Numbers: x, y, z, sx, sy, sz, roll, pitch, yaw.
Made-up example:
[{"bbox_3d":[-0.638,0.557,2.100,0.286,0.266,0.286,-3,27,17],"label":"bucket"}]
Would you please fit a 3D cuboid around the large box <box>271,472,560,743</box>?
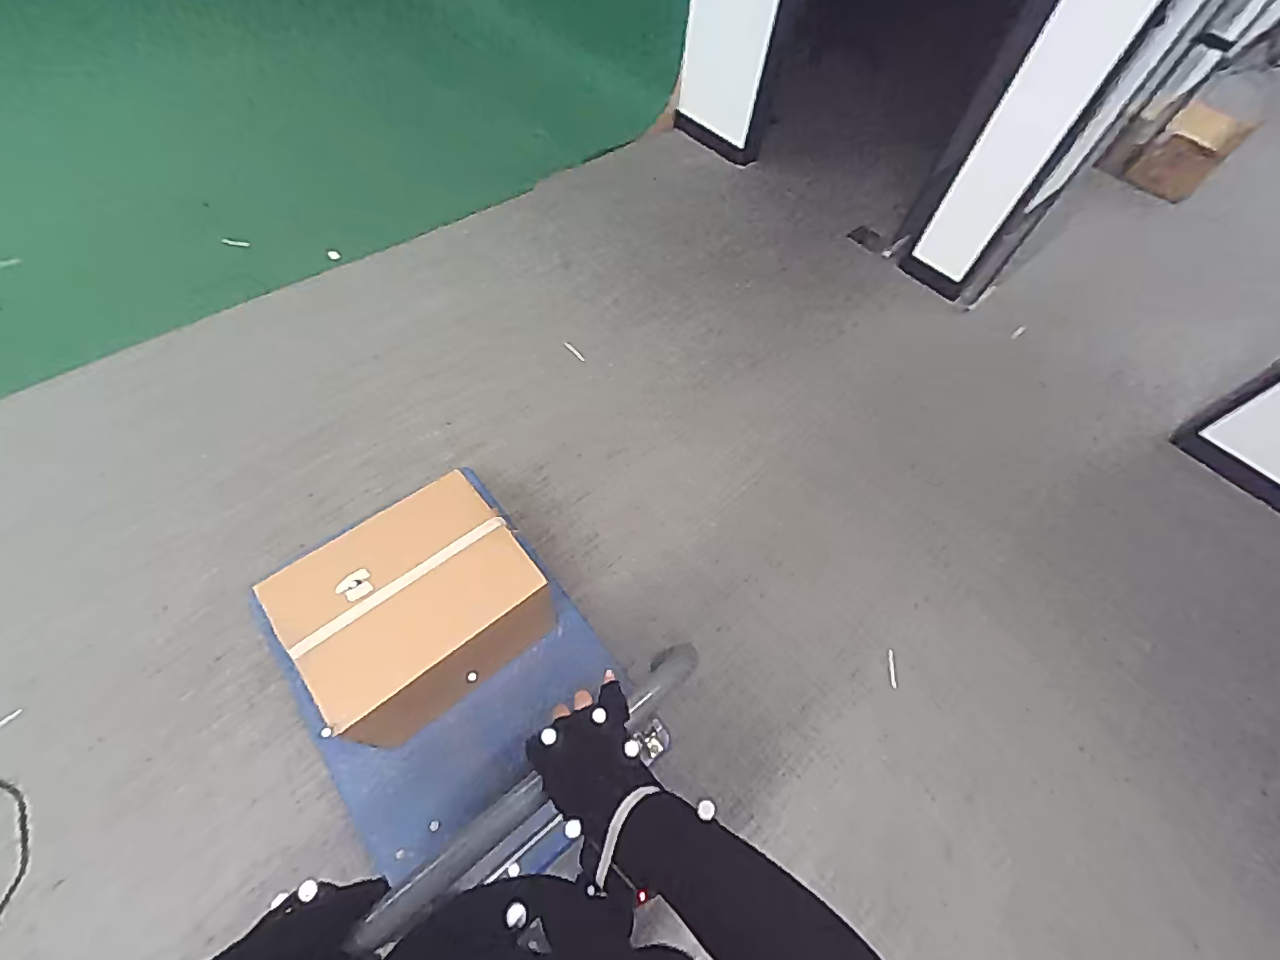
[{"bbox_3d":[-0.416,0.263,1.103,0.408,0.320,0.320,-36,69,-22],"label":"large box"}]
